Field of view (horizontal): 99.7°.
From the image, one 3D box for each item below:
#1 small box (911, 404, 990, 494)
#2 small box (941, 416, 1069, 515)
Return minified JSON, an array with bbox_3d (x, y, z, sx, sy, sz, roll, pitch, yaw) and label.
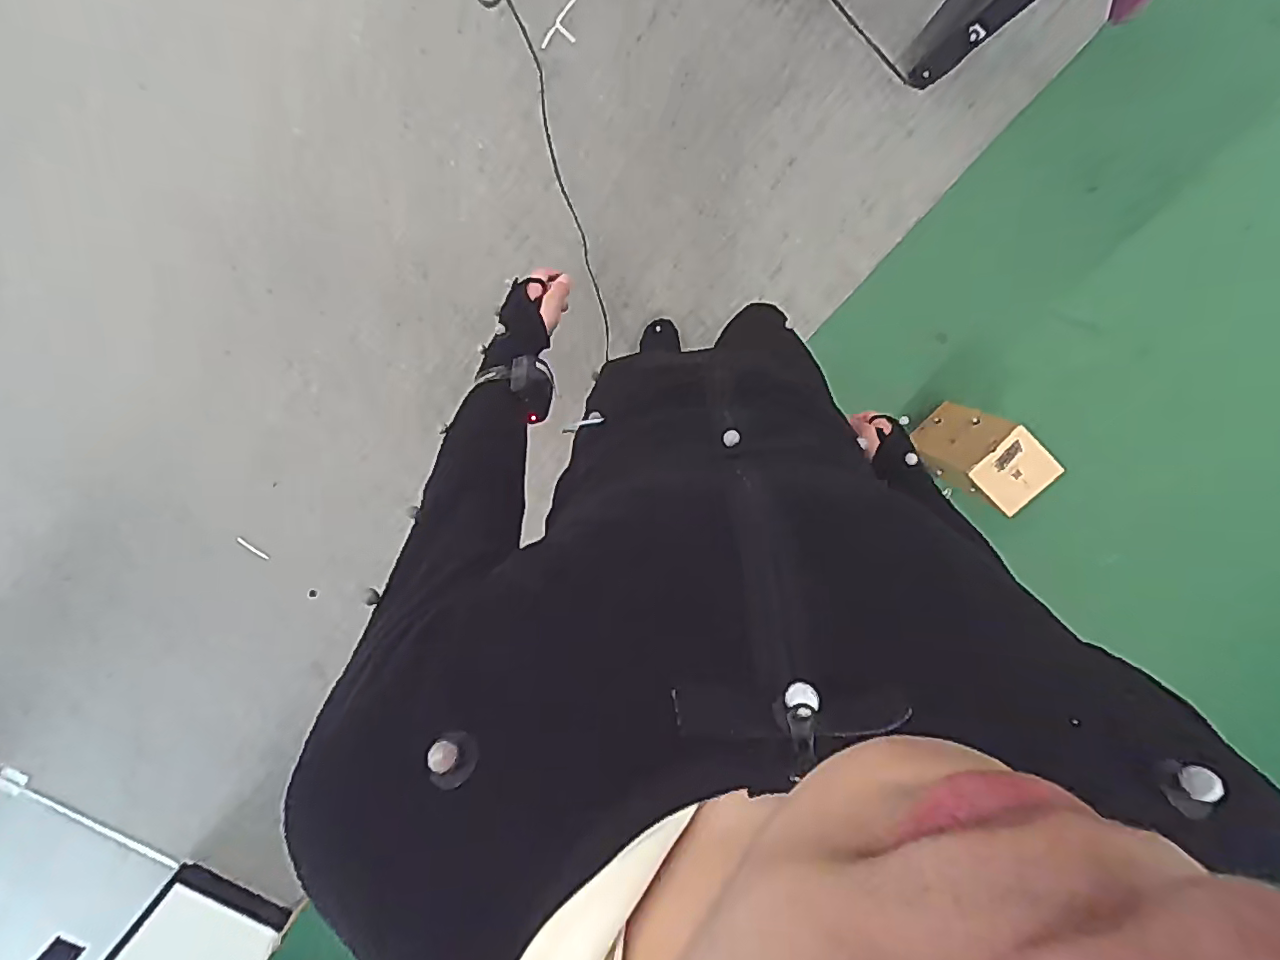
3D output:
[{"bbox_3d":[0.917,-0.096,1.533,0.179,0.176,0.168,40,104,-11],"label":"small box"},{"bbox_3d":[0.917,-0.046,1.377,0.179,0.176,0.168,39,104,-12],"label":"small box"}]
